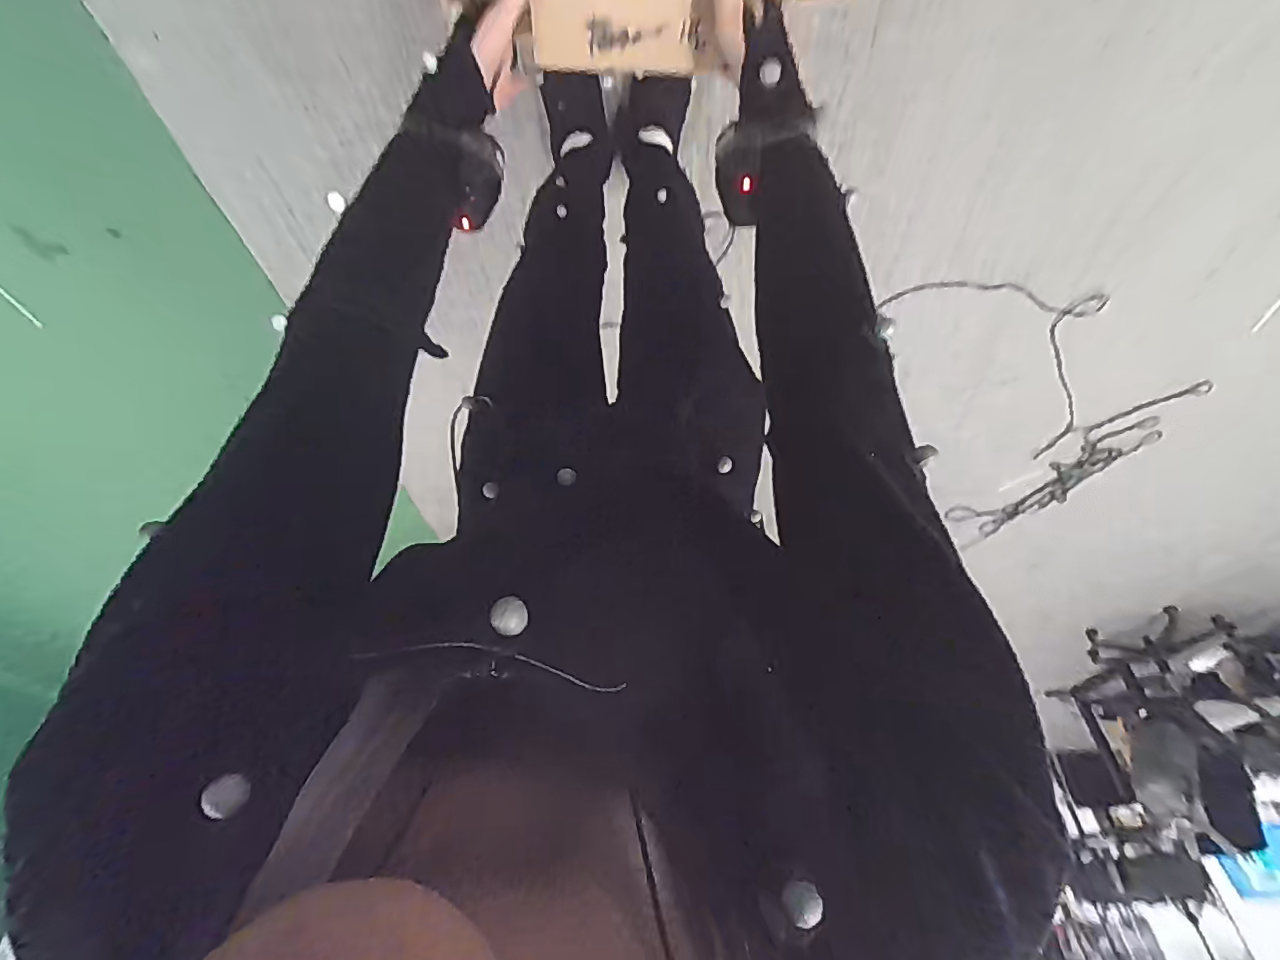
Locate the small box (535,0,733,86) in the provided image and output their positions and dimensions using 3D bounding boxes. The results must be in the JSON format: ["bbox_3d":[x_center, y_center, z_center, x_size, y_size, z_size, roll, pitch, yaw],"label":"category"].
[{"bbox_3d":[-0.012,-0.467,0.484,0.168,0.176,0.179,-2,126,-7],"label":"small box"}]
